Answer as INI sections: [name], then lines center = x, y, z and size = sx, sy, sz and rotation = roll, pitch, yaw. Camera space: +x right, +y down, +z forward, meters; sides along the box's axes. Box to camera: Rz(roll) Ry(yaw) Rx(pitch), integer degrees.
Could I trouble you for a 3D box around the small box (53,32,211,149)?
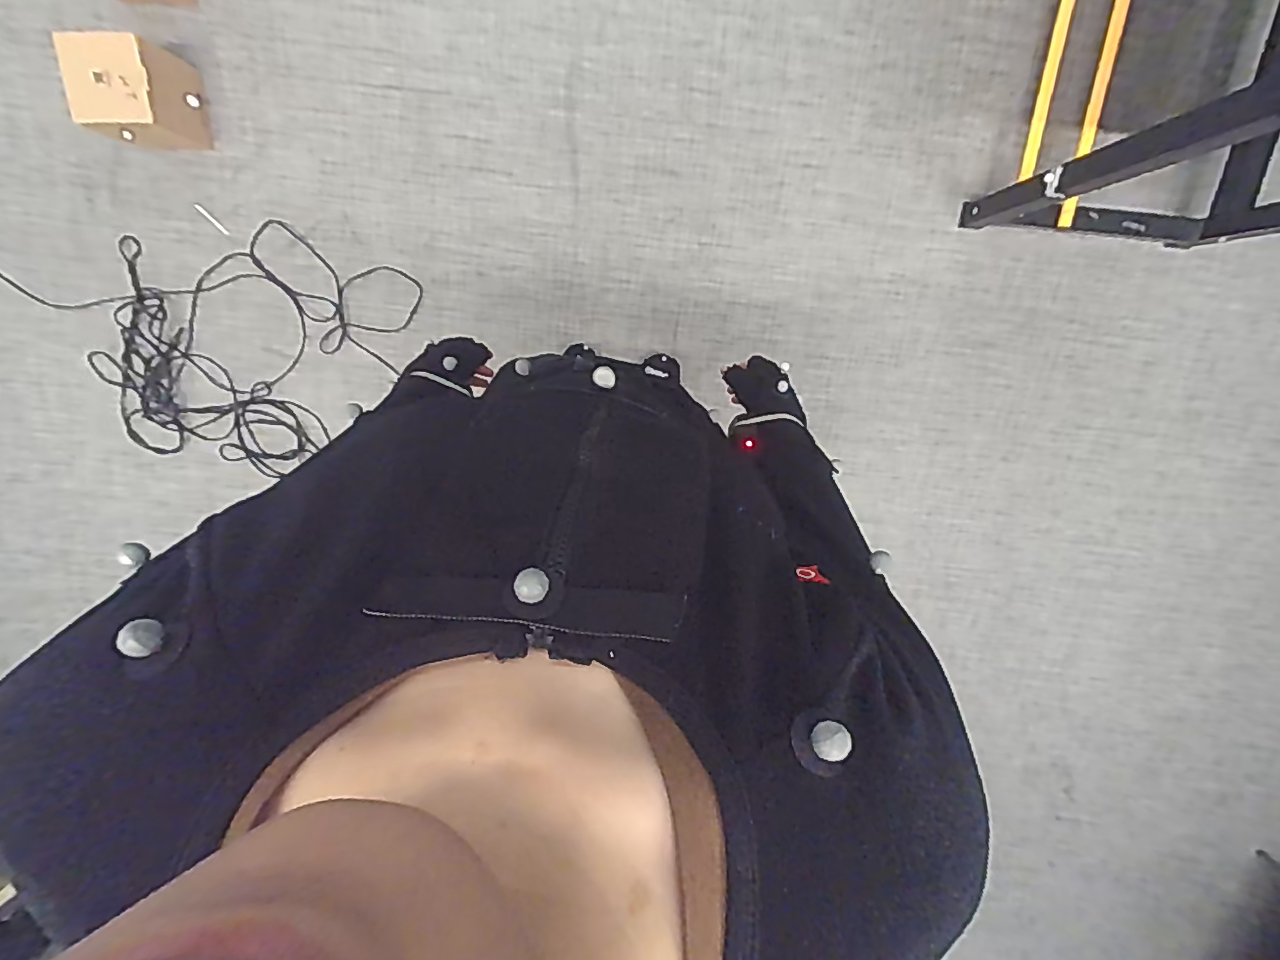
[small box]
center = -1.108, -0.850, 1.194
size = 0.179, 0.176, 0.168
rotation = 0, 106, 0
